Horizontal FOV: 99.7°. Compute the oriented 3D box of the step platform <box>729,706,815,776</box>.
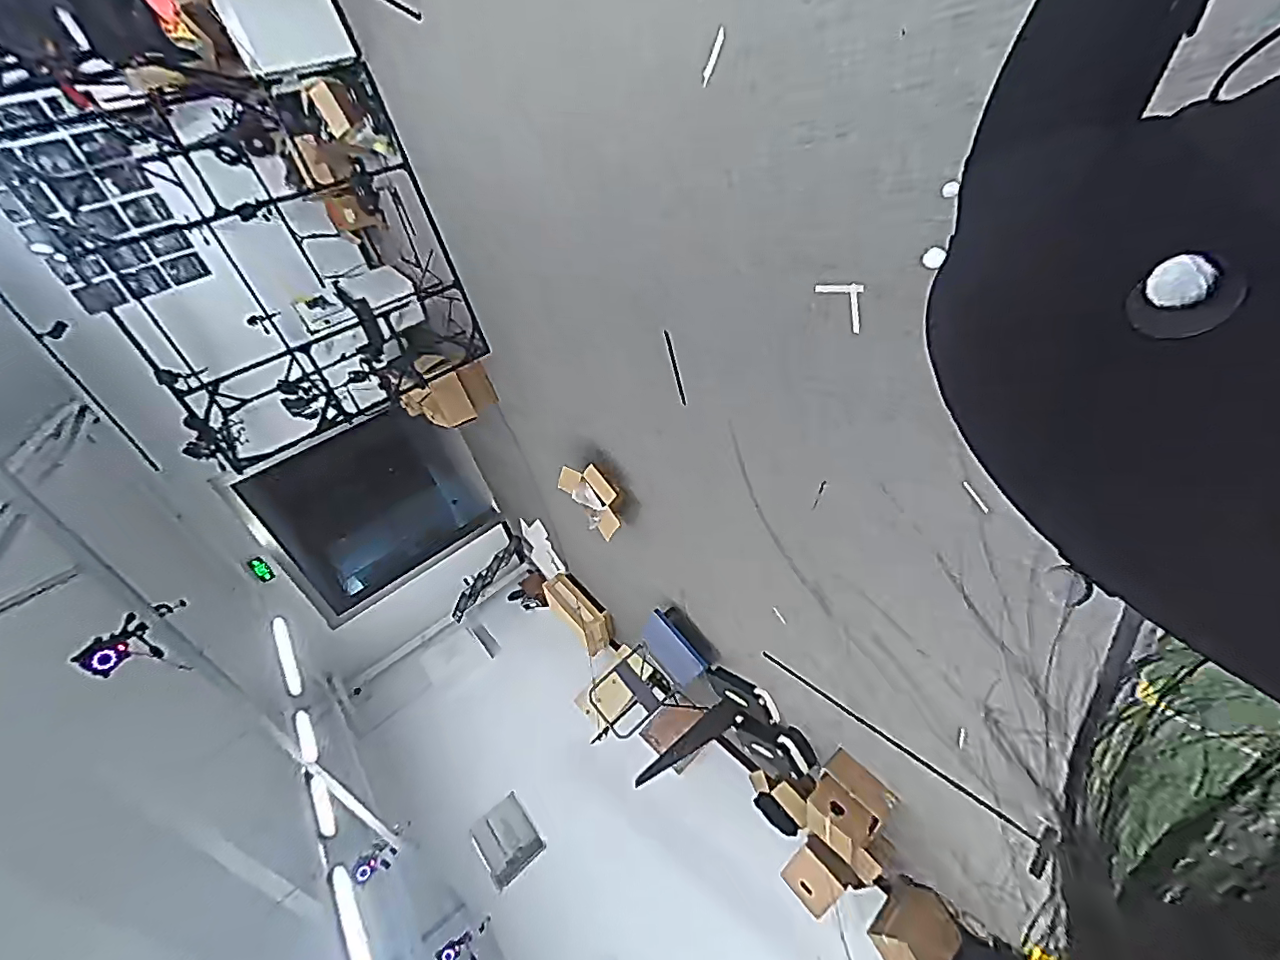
[{"bbox_3d":[0.952,1.921,3.995,0.286,0.204,0.684,58,154,-6],"label":"step platform"}]
